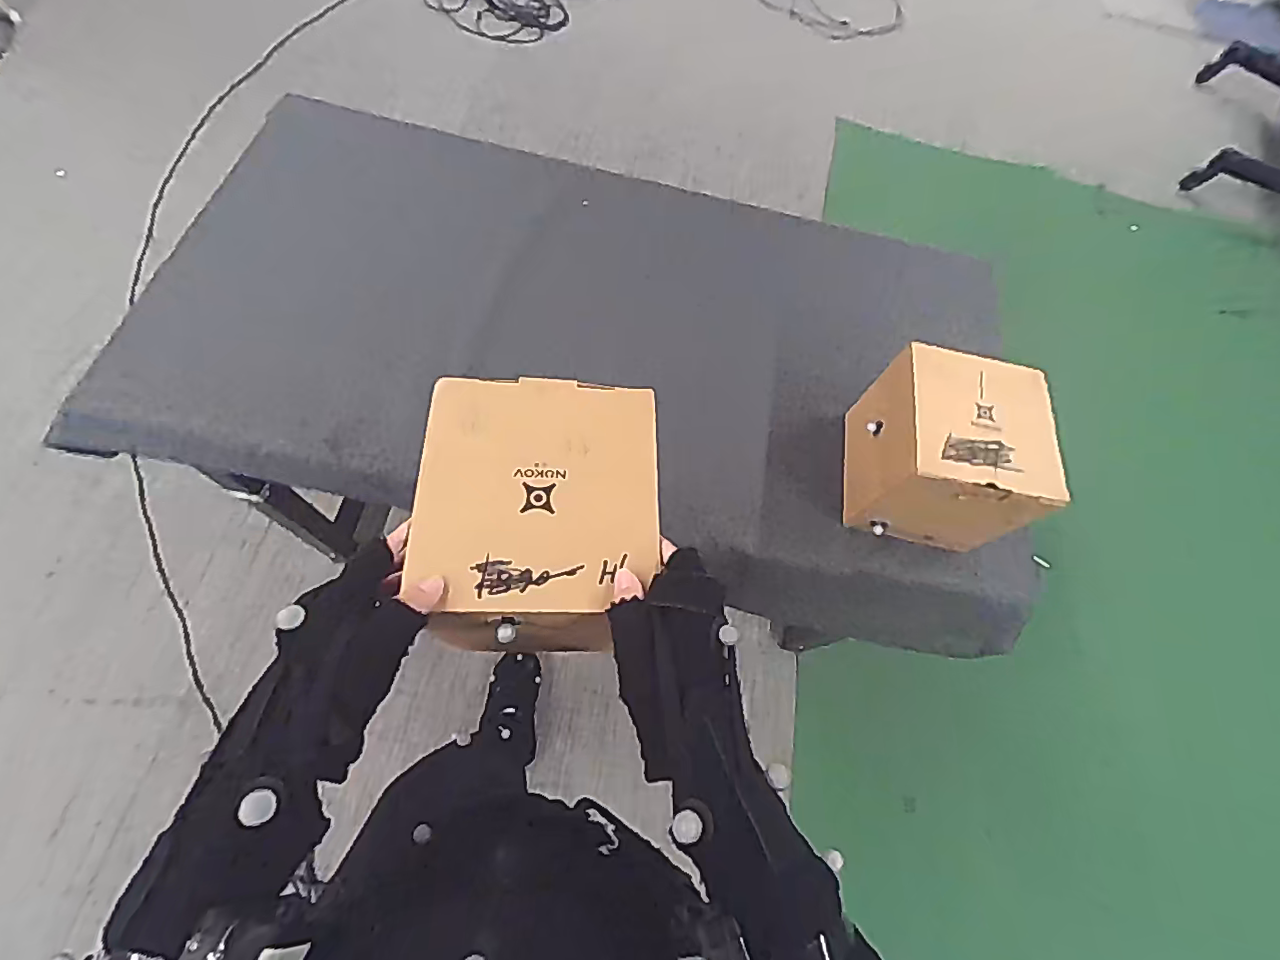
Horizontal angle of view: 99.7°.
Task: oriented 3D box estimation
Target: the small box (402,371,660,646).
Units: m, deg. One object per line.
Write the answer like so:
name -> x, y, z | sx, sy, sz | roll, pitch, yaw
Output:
small box -> -0.077, 0.034, 0.449 | 0.168, 0.176, 0.179 | 2, 65, -6

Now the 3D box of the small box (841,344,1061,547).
small box -> 0.364, -0.032, 0.667 | 0.168, 0.176, 0.179 | 13, 64, -2
